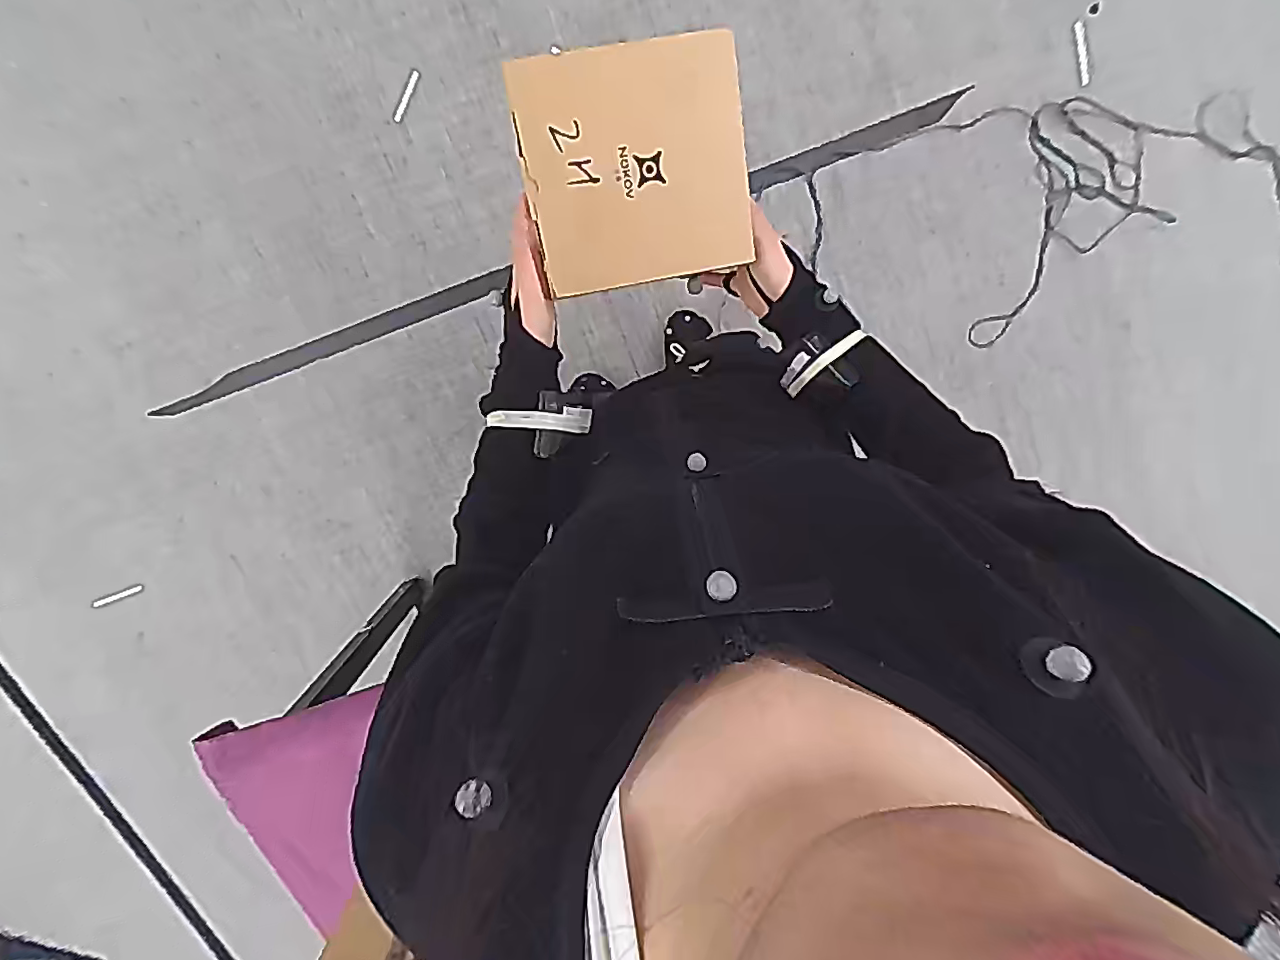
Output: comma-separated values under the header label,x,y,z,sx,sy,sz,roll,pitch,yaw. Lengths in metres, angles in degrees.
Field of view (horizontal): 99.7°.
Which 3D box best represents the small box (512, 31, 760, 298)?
label,x,y,z,sx,sy,sz,roll,pitch,yaw
small box,-0.008,-0.266,0.493,0.179,0.176,0.168,-12,109,-4
